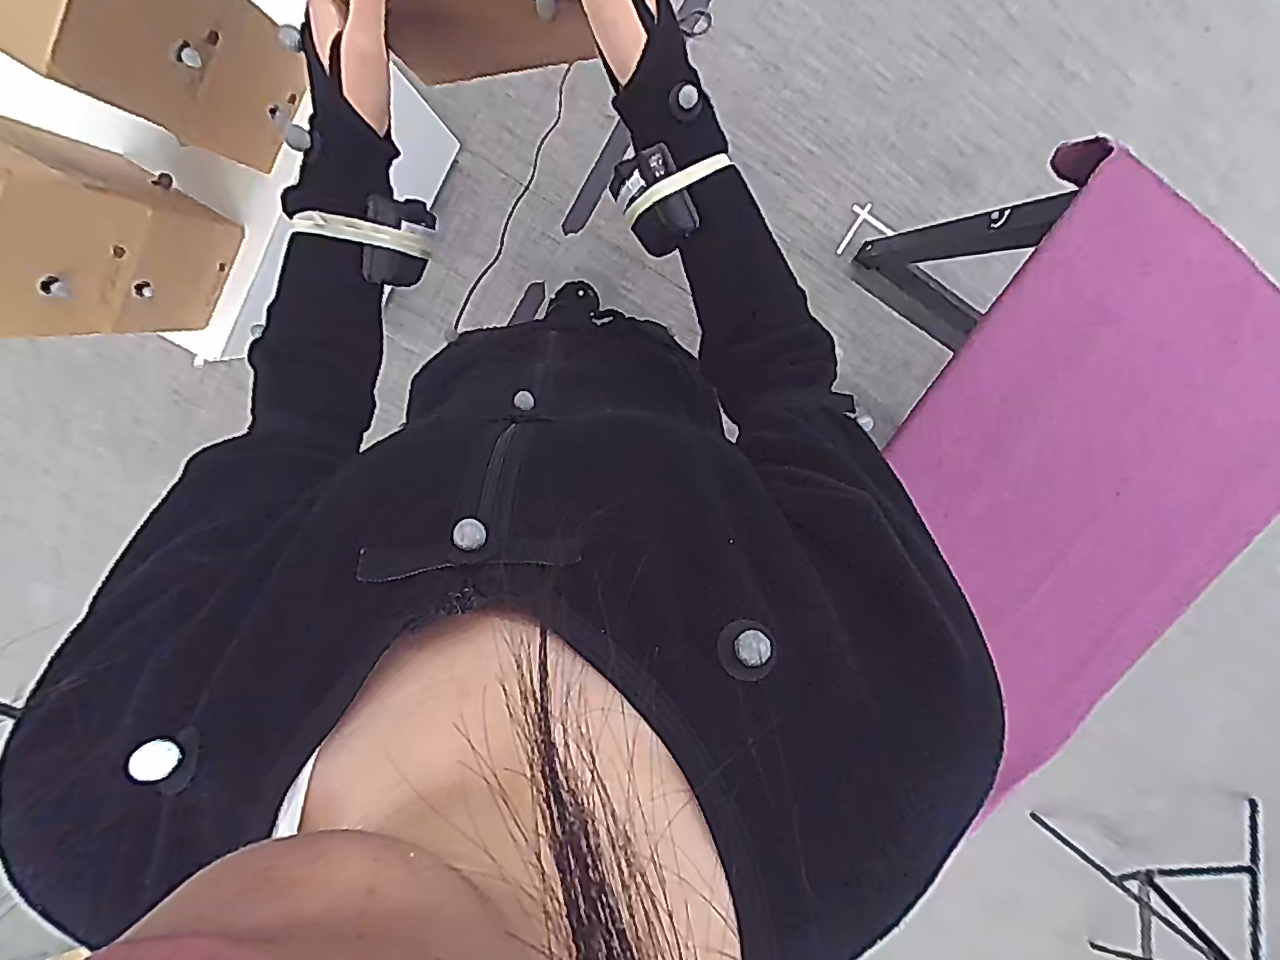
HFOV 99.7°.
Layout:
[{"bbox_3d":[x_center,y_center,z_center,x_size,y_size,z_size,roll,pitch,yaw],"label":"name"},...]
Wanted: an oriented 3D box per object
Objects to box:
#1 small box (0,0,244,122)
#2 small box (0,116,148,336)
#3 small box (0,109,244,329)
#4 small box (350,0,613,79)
[{"bbox_3d":[-0.505,-0.456,0.468,0.179,0.176,0.168,32,103,-14],"label":"small box"},{"bbox_3d":[-0.644,-0.257,0.522,0.179,0.176,0.168,29,103,-12],"label":"small box"},{"bbox_3d":[-0.657,-0.306,0.676,0.179,0.176,0.168,31,104,-12],"label":"small box"},{"bbox_3d":[-0.113,-0.413,0.372,0.179,0.176,0.168,-8,107,2],"label":"small box"}]
